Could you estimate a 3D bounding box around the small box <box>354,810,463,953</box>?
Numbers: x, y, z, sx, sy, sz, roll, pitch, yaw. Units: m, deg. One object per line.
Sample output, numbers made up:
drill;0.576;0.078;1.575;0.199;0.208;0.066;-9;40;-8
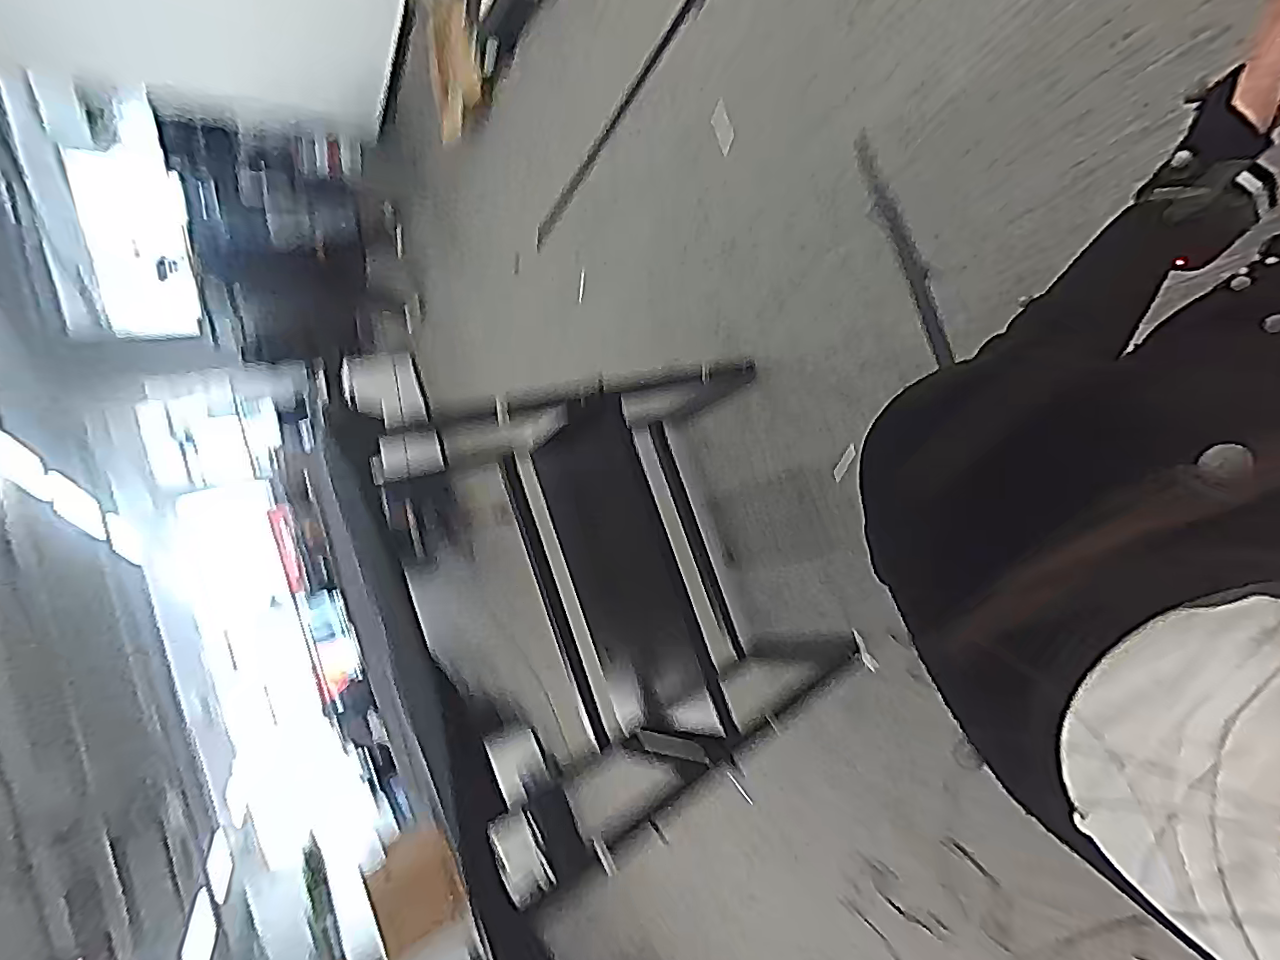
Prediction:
small box;-0.506;0.865;1.190;0.179;0.176;0.168;-25;83;54
